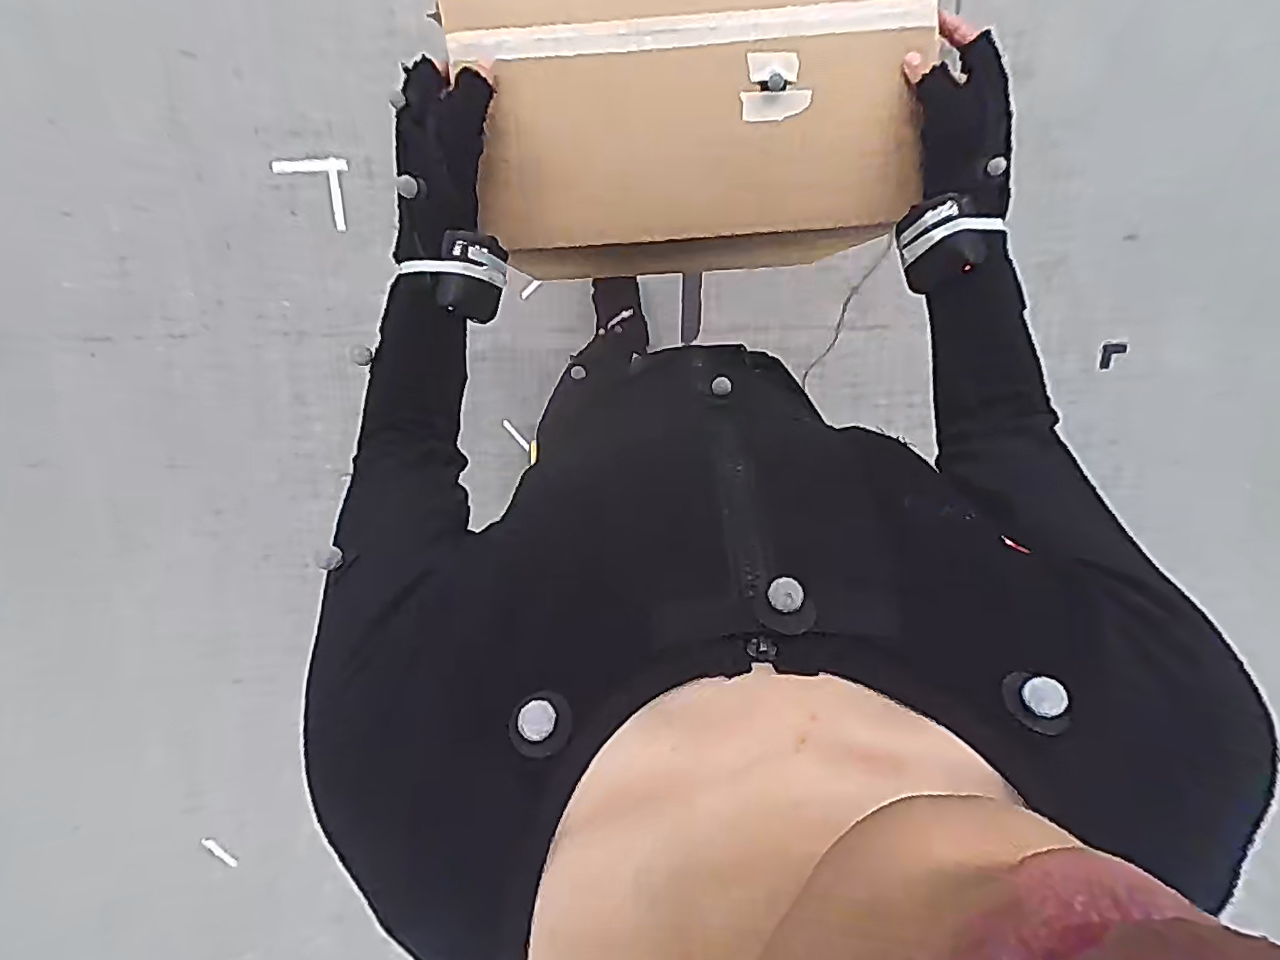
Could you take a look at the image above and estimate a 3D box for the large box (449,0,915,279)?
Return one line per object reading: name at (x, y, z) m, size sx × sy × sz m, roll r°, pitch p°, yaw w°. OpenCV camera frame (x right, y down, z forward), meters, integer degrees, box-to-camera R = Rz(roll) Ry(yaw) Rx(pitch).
large box at (0.034, -0.421, 0.609) m, size 0.408 × 0.320 × 0.320 m, roll -5°, pitch 105°, yaw 0°
